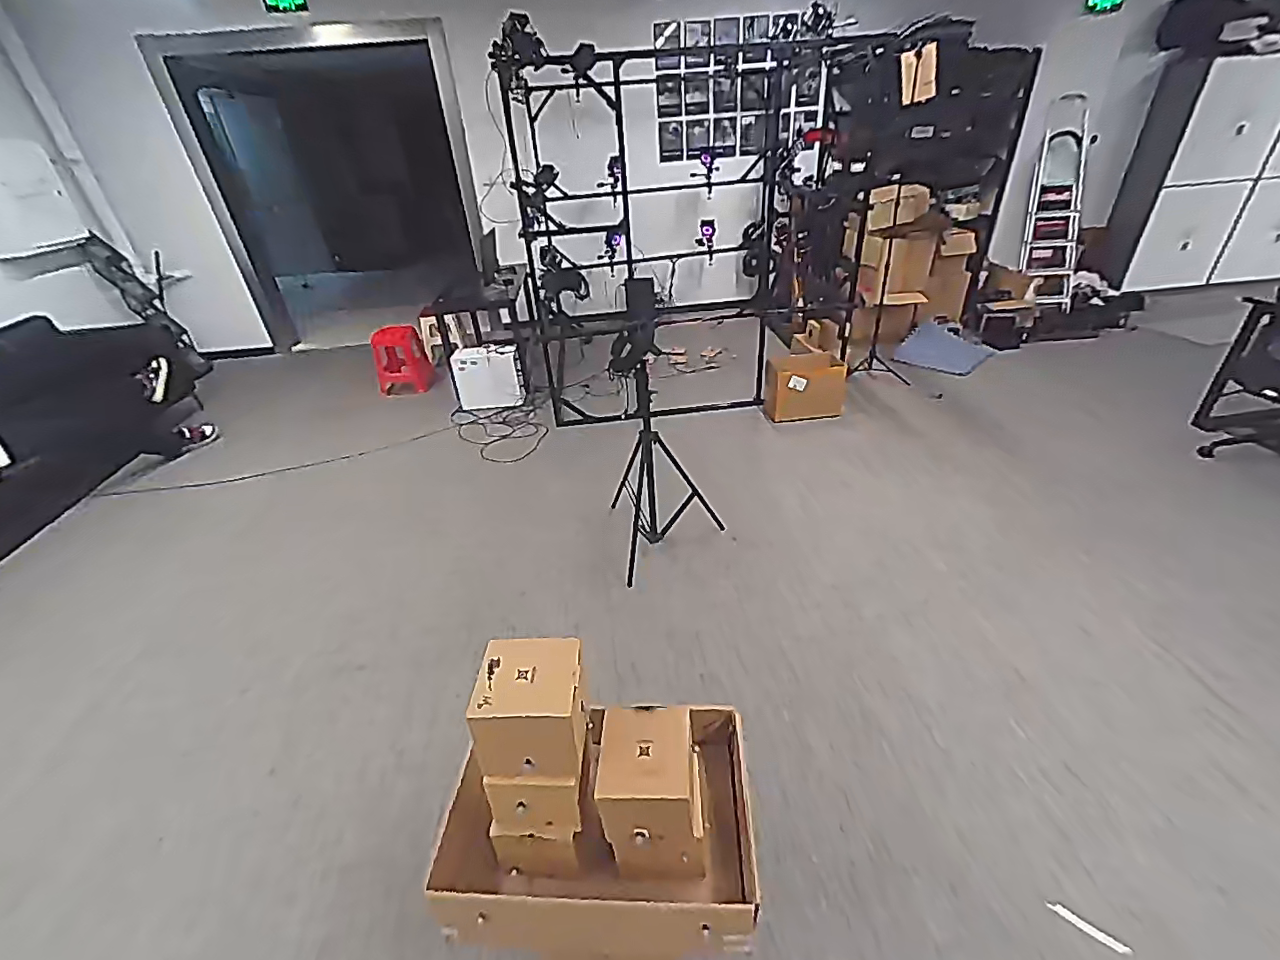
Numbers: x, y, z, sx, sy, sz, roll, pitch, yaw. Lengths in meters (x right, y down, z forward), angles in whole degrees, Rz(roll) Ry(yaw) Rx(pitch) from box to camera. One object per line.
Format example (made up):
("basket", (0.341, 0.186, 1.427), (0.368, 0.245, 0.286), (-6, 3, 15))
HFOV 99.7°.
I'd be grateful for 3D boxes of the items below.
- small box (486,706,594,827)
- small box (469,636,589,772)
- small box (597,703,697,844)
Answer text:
("small box", (-0.184, 0.549, 1.059), (0.168, 0.176, 0.179), (0, 32, 3))
("small box", (-0.188, 0.405, 0.981), (0.179, 0.176, 0.168), (0, 31, 2))
("small box", (0.021, 0.551, 1.024), (0.168, 0.176, 0.179), (-3, 32, 7))
